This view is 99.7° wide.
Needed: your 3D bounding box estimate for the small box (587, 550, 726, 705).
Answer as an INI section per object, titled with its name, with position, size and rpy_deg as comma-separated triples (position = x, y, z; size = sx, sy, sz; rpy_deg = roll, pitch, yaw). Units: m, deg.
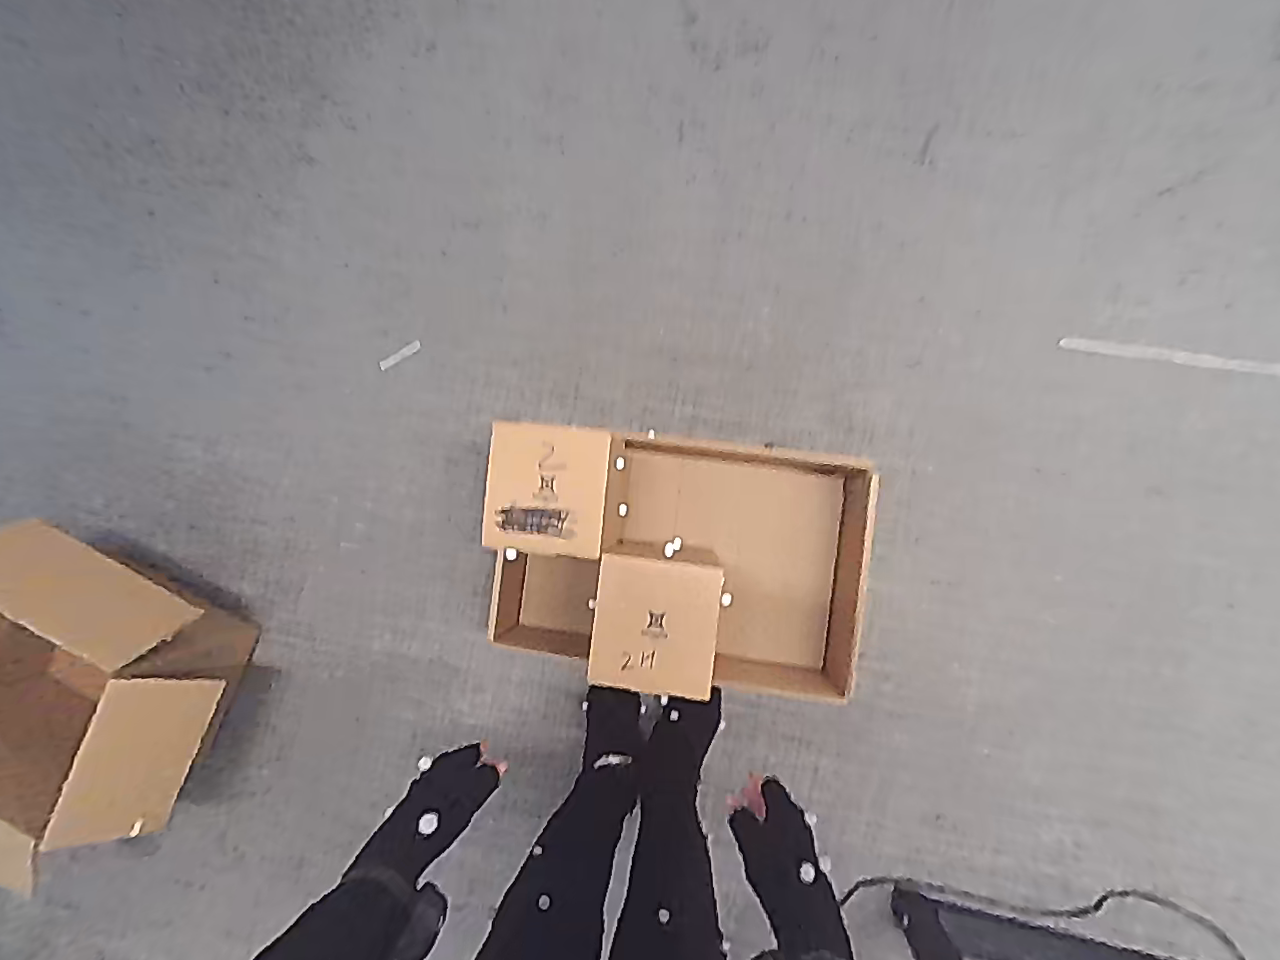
[small box]
position = 0.026, 0.202, 0.791
size = 0.168, 0.176, 0.179
rpy_deg = 7, 88, 4
